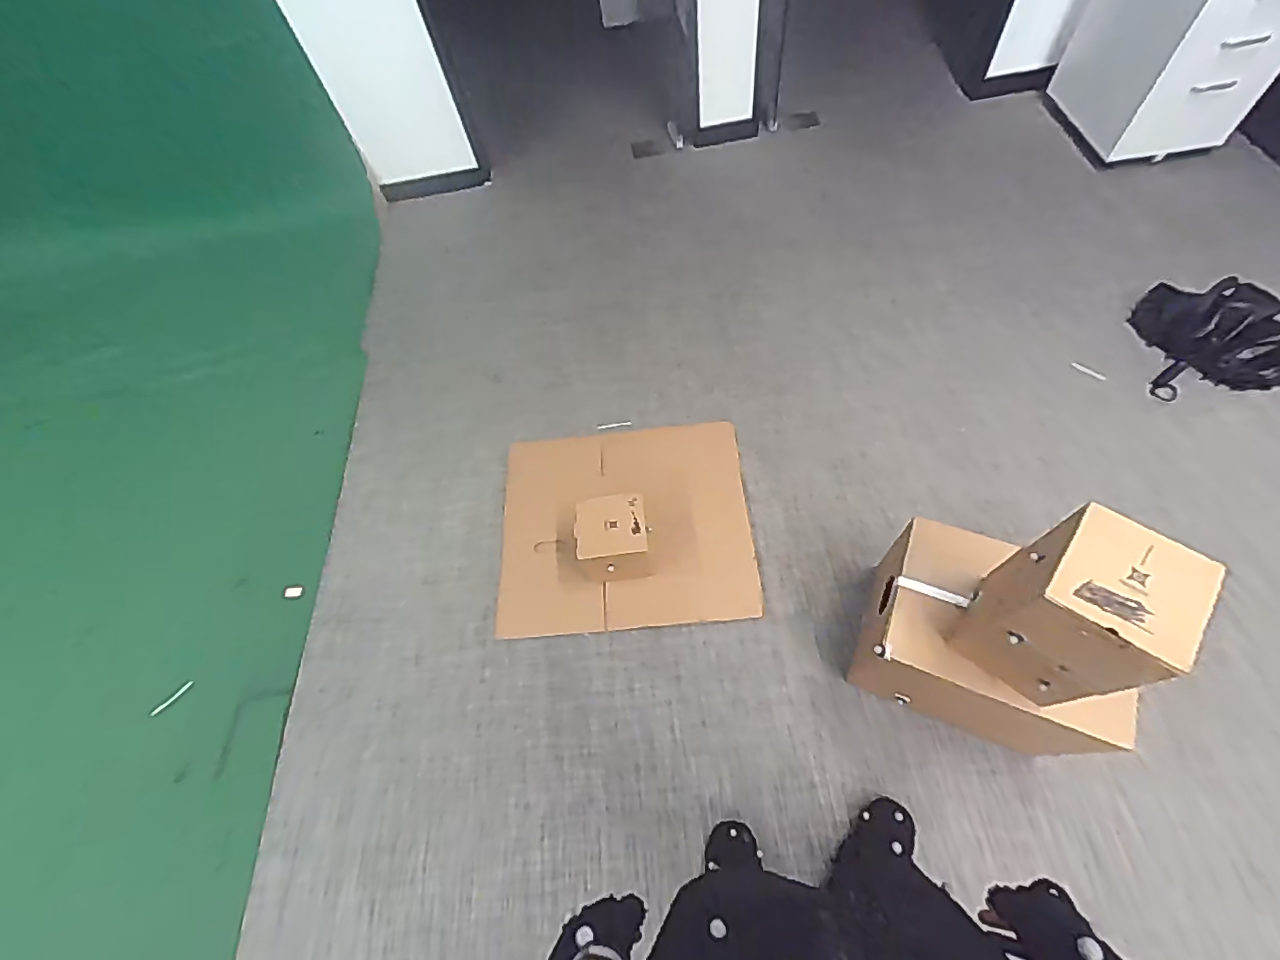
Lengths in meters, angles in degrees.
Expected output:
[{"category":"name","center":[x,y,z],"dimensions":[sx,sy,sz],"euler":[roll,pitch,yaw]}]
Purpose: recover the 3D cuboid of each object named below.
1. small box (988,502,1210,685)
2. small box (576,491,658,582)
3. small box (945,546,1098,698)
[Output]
[{"category":"small box","center":[0.641,0.170,0.780],"dimensions":[0.168,0.176,0.179],"euler":[31,69,22]},{"category":"small box","center":[-0.058,0.154,1.416],"dimensions":[0.179,0.176,0.168],"euler":[-11,58,3]},{"category":"small box","center":[0.665,0.249,0.922],"dimensions":[0.179,0.176,0.168],"euler":[33,69,24]}]
